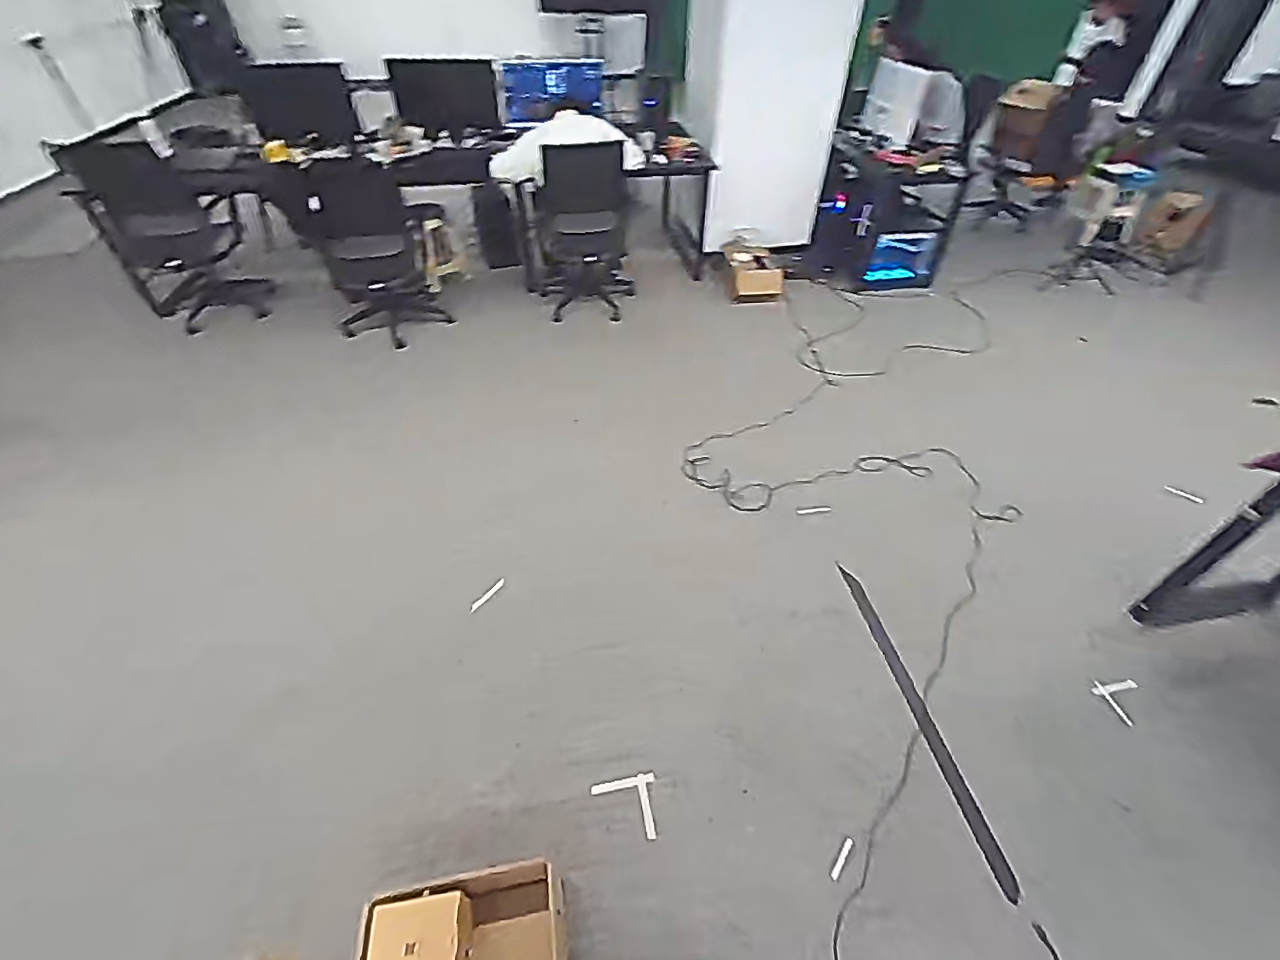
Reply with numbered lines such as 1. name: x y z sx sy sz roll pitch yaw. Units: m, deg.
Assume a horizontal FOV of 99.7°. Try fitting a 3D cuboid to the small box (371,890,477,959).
1. small box: -0.452 0.996 1.141 0.179 0.176 0.168 -5 45 -9
